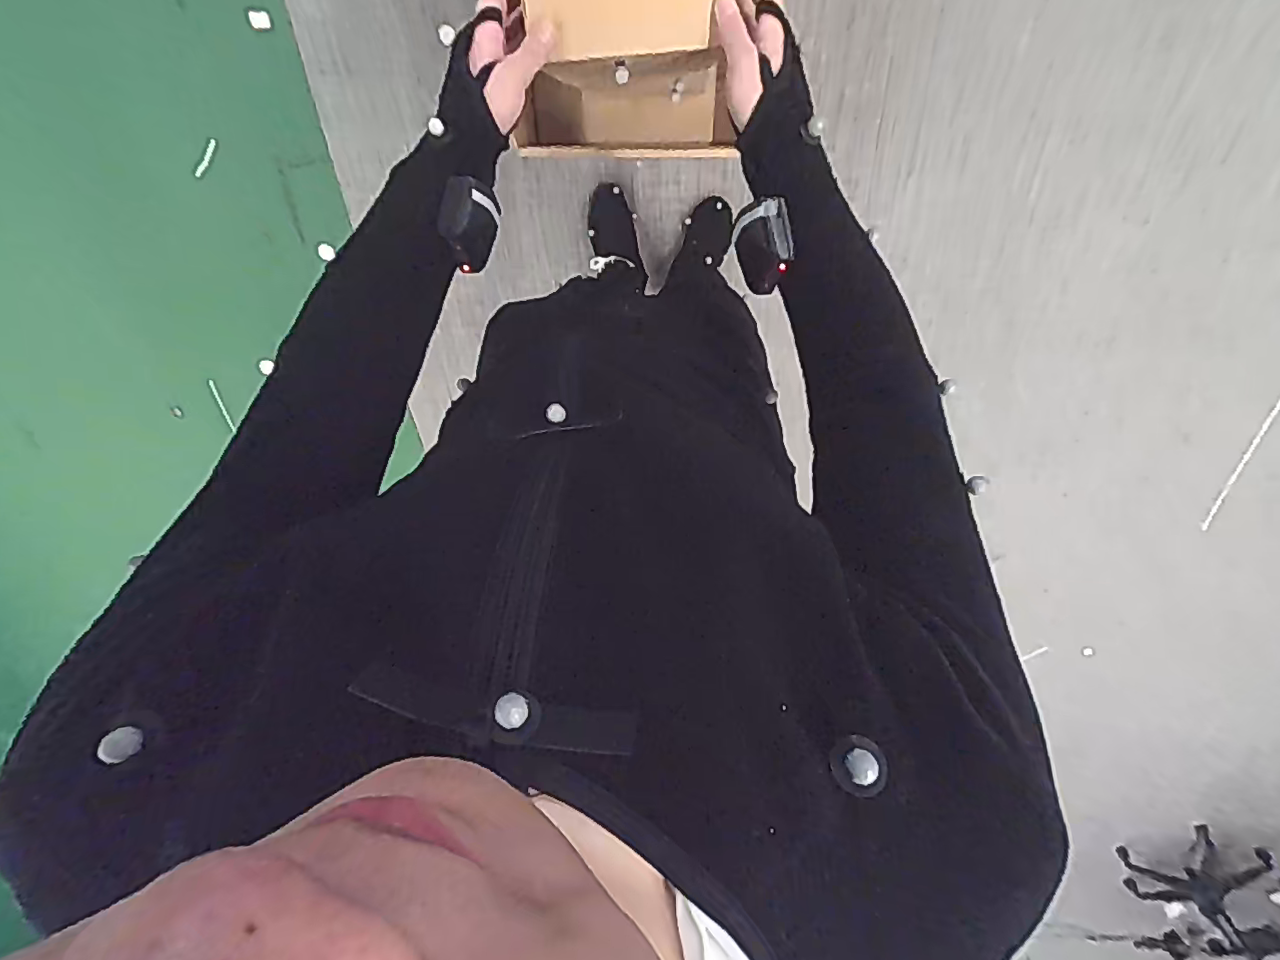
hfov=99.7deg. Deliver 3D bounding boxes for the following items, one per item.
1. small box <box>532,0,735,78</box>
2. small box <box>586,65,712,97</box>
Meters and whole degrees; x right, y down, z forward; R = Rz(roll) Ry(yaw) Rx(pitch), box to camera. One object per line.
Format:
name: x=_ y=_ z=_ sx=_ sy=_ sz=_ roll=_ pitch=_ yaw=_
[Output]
small box: x=-0.005 y=-0.487 z=0.505 sx=0.179 sy=0.176 sz=0.168 roll=-1 pitch=122 yaw=4
small box: x=0.014 y=-0.660 z=0.779 sx=0.179 sy=0.176 sz=0.168 roll=1 pitch=122 yaw=4
